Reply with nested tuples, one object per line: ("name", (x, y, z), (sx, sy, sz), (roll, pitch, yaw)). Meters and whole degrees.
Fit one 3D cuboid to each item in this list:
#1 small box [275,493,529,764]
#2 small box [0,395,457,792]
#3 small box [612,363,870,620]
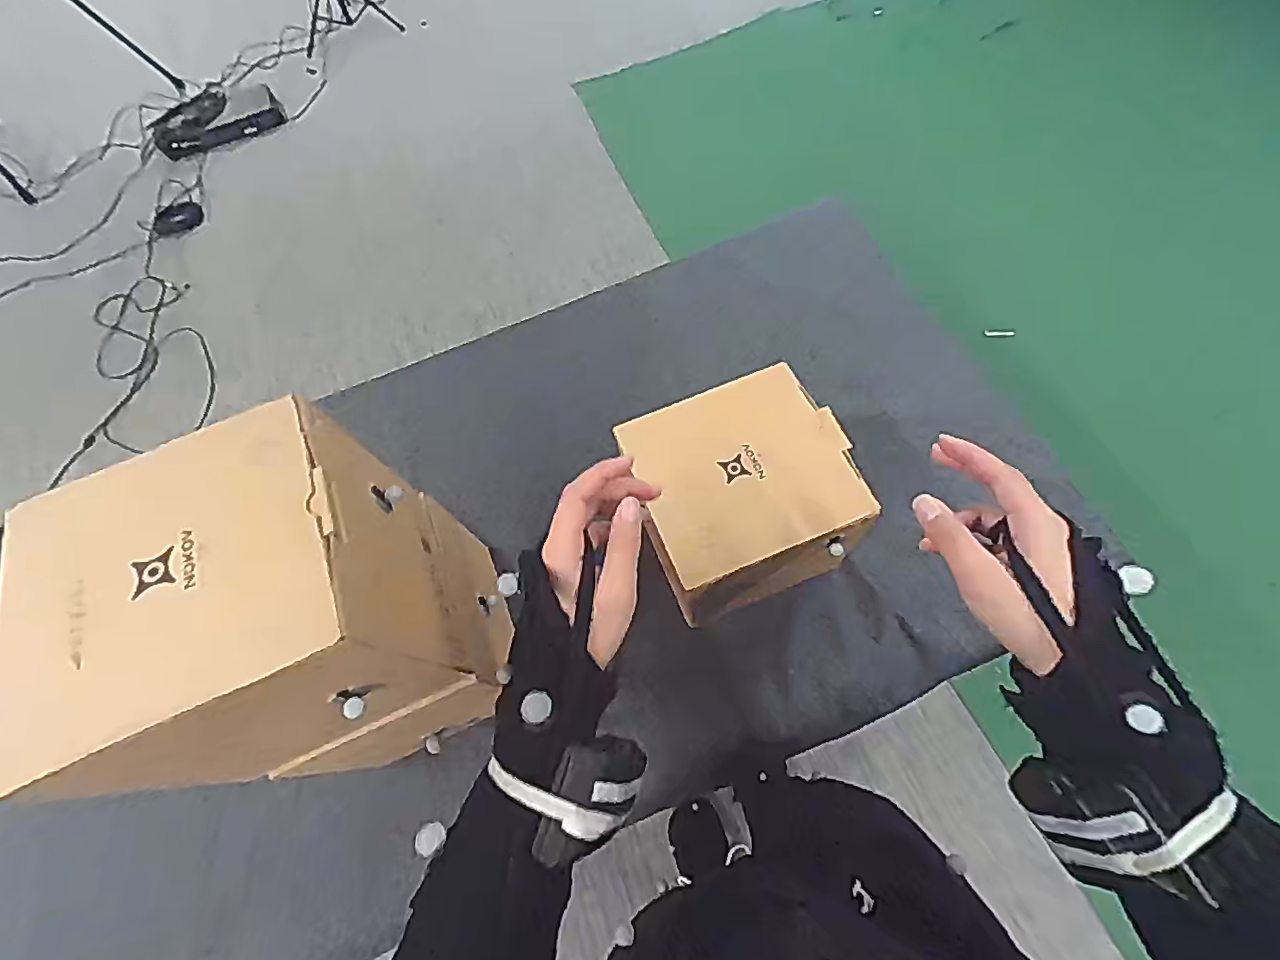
("small box", (-0.224, 0.145, 0.513), (0.168, 0.176, 0.179), (-23, 65, -5))
("small box", (-0.244, 0.080, 0.366), (0.179, 0.176, 0.168), (-25, 64, -5))
("small box", (0.090, 0.022, 0.540), (0.179, 0.176, 0.168), (-22, 64, -5))
